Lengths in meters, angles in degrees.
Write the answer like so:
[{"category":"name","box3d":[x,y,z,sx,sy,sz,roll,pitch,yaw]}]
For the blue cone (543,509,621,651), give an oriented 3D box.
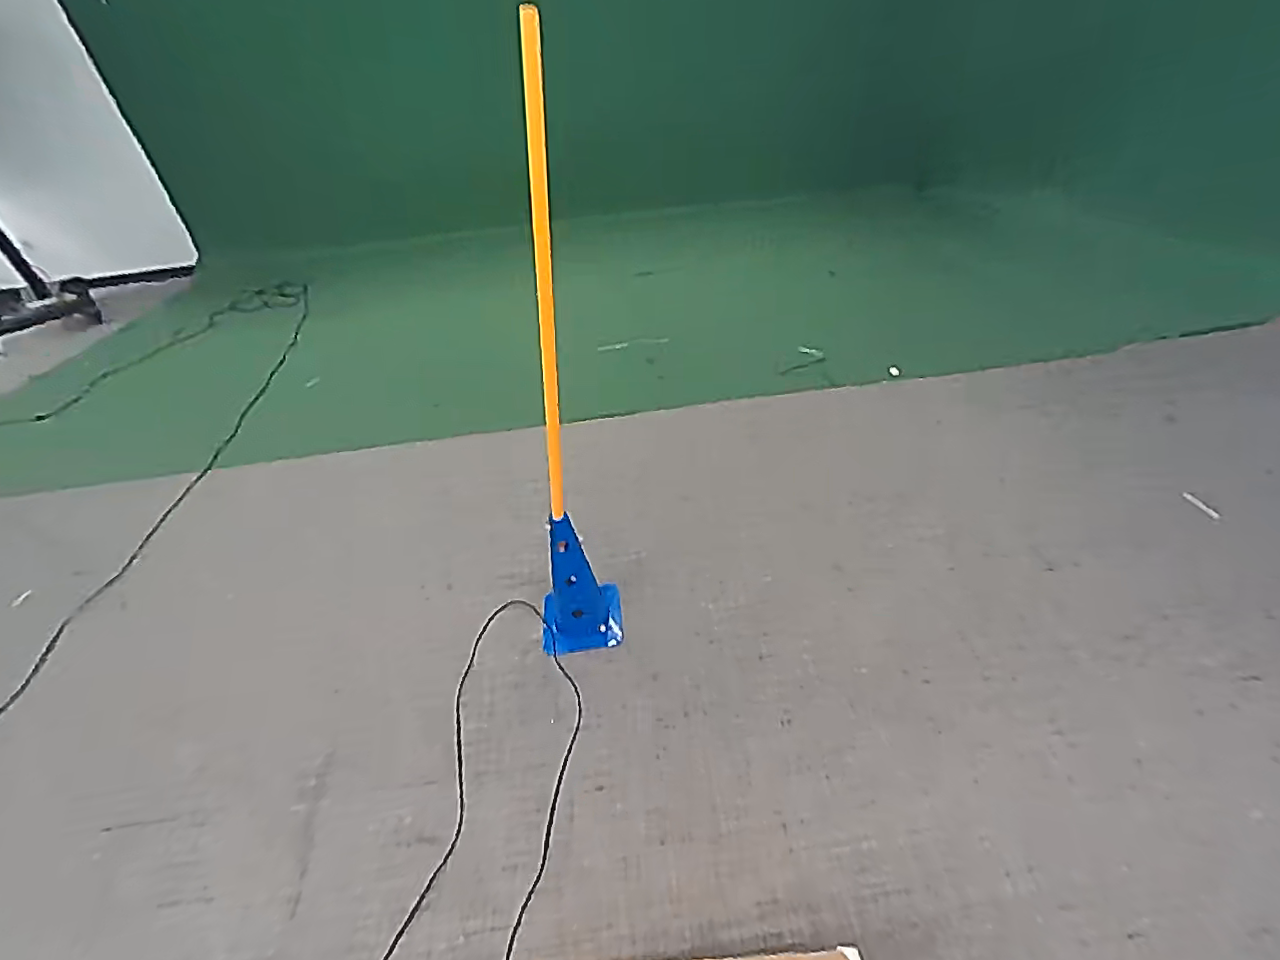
[{"category":"blue cone","box3d":[-0.160,0.215,1.280,0.193,0.380,0.192,-8,38,-5]}]
